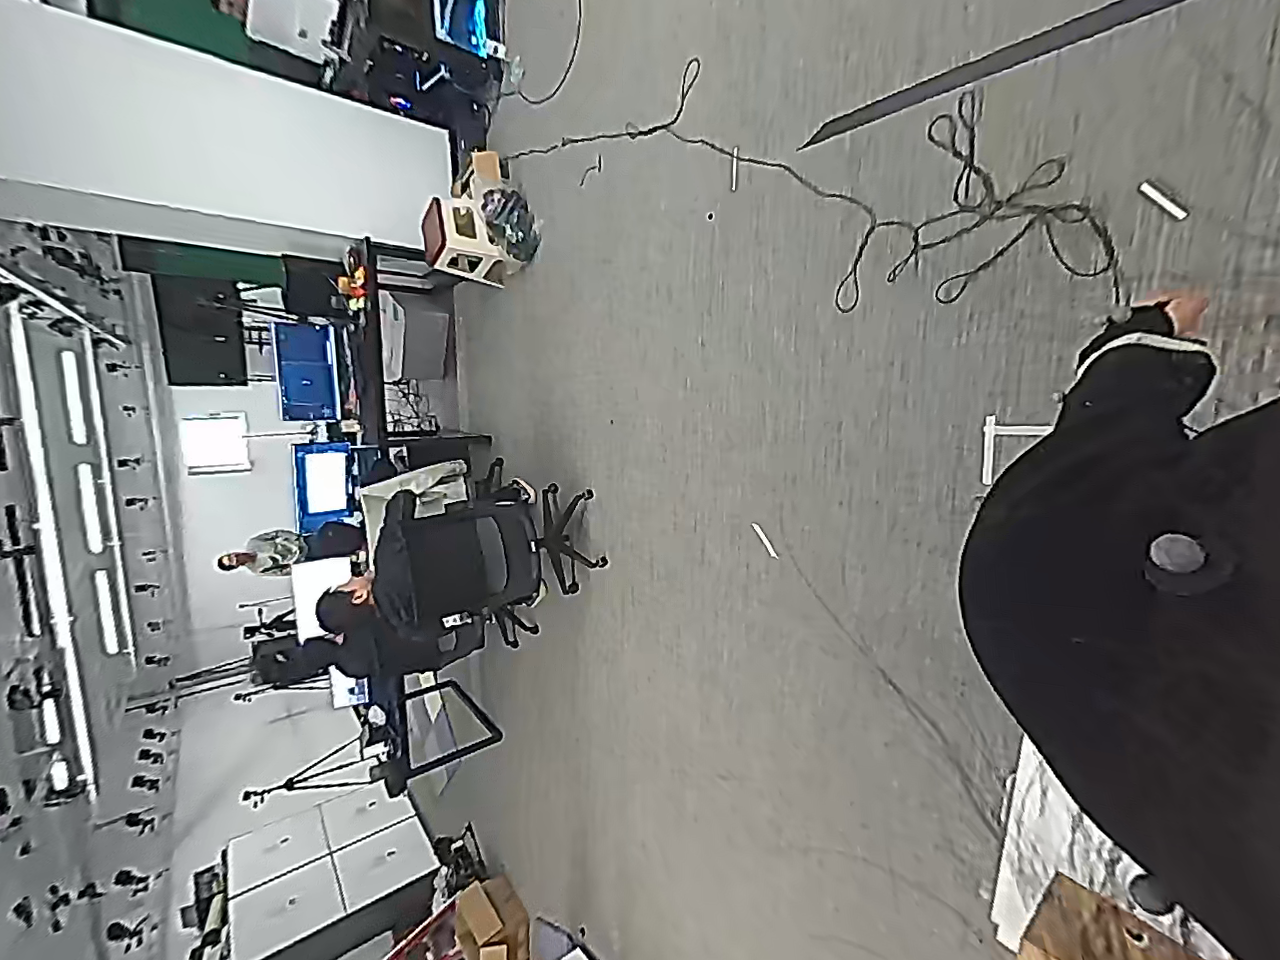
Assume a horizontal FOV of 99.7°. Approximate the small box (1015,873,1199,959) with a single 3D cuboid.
[{"bbox_3d":[0.615,0.689,0.719,0.168,0.176,0.179,14,105,49],"label":"small box"}]
